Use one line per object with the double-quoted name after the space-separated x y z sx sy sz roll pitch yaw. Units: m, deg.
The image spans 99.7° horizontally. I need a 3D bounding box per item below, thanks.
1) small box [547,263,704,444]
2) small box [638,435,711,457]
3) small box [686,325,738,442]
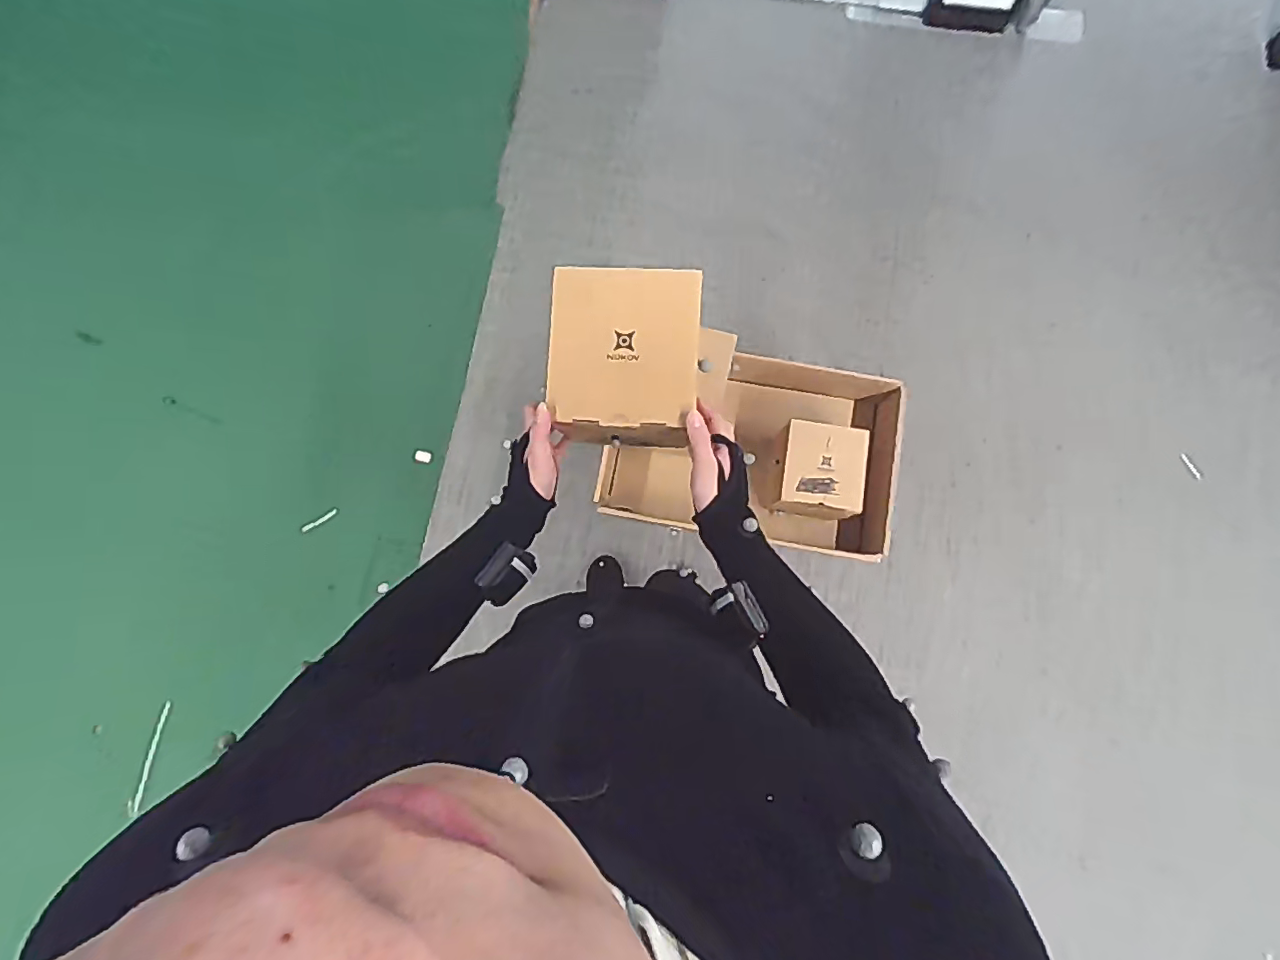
-0.015 -0.144 0.668 0.168 0.176 0.179 3 87 1 "small box"
0.082 -0.164 1.212 0.168 0.176 0.179 12 81 3 "small box"
0.080 -0.190 1.050 0.168 0.176 0.179 14 82 4 "small box"
